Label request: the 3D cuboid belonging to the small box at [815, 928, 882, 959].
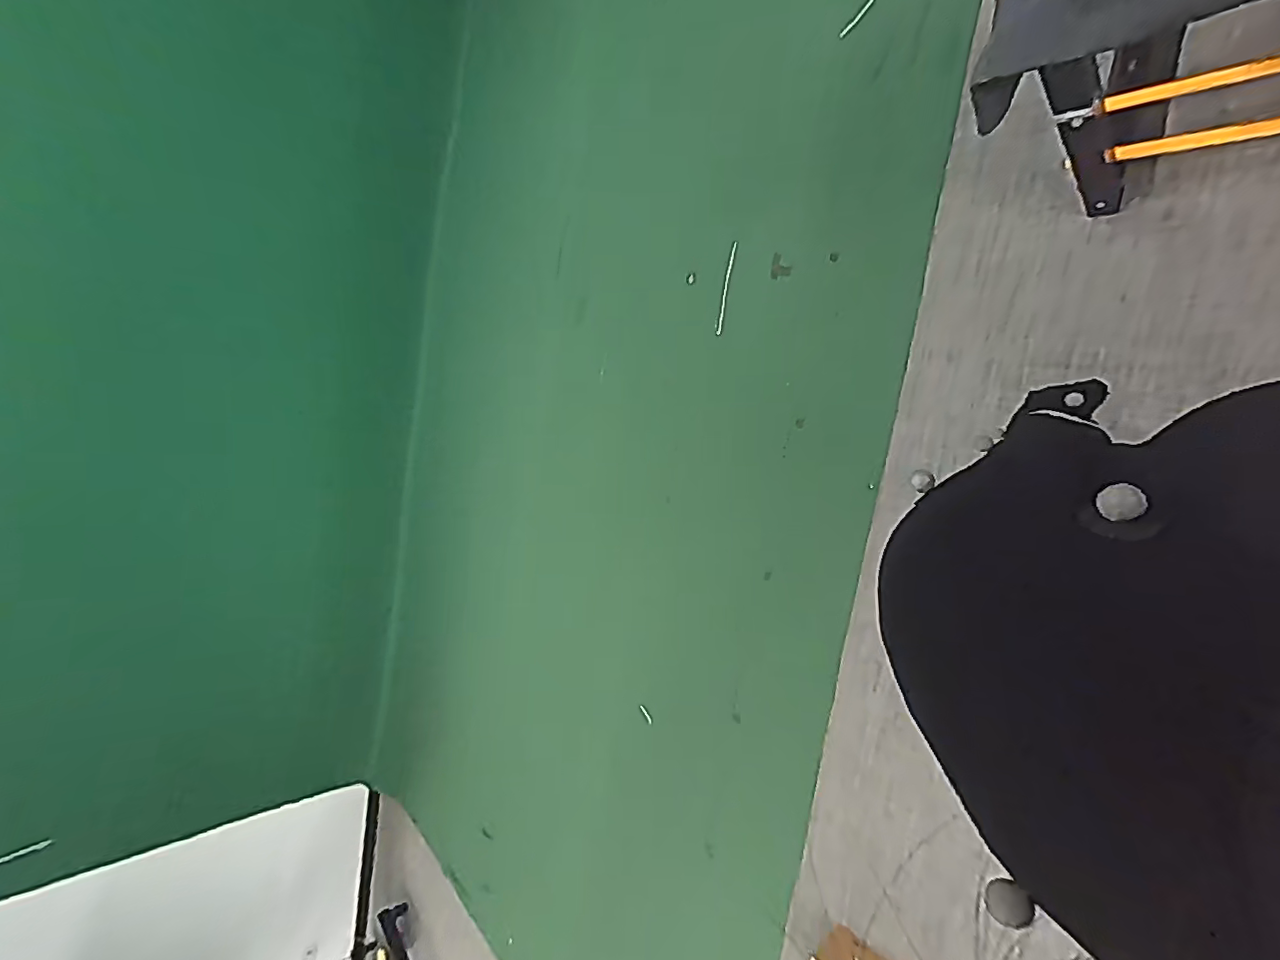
[{"bbox_3d":[0.556,1.348,1.423,0.168,0.176,0.179,16,99,45],"label":"small box"}]
